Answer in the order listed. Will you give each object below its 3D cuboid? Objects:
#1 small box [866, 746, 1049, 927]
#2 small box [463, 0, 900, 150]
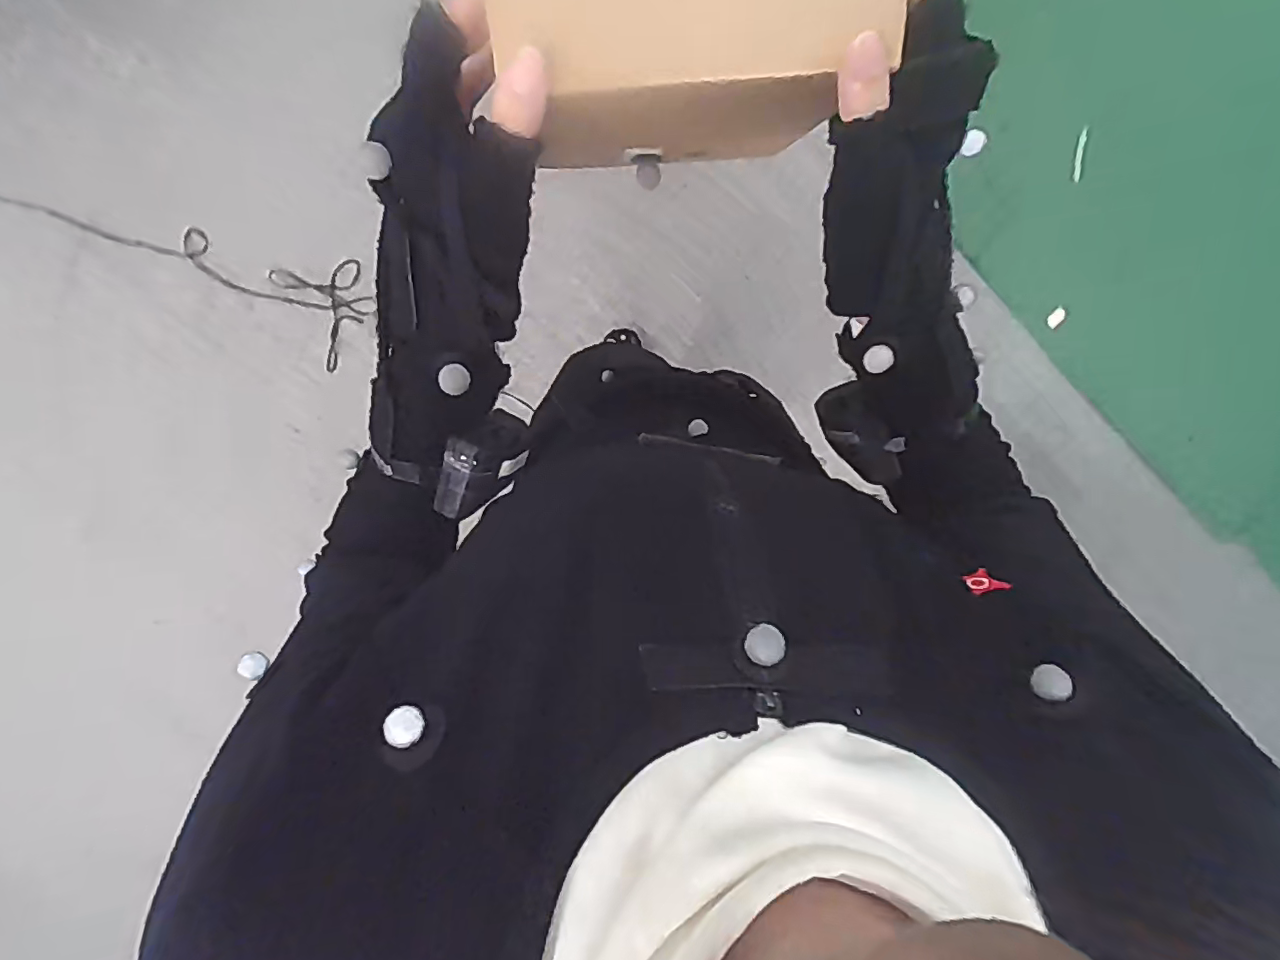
[{"bbox_3d":[0.531,0.599,0.933,0.179,0.176,0.168,40,99,-13],"label":"small box"},{"bbox_3d":[0.005,-0.275,0.249,0.168,0.176,0.179,-6,111,-2],"label":"small box"}]
